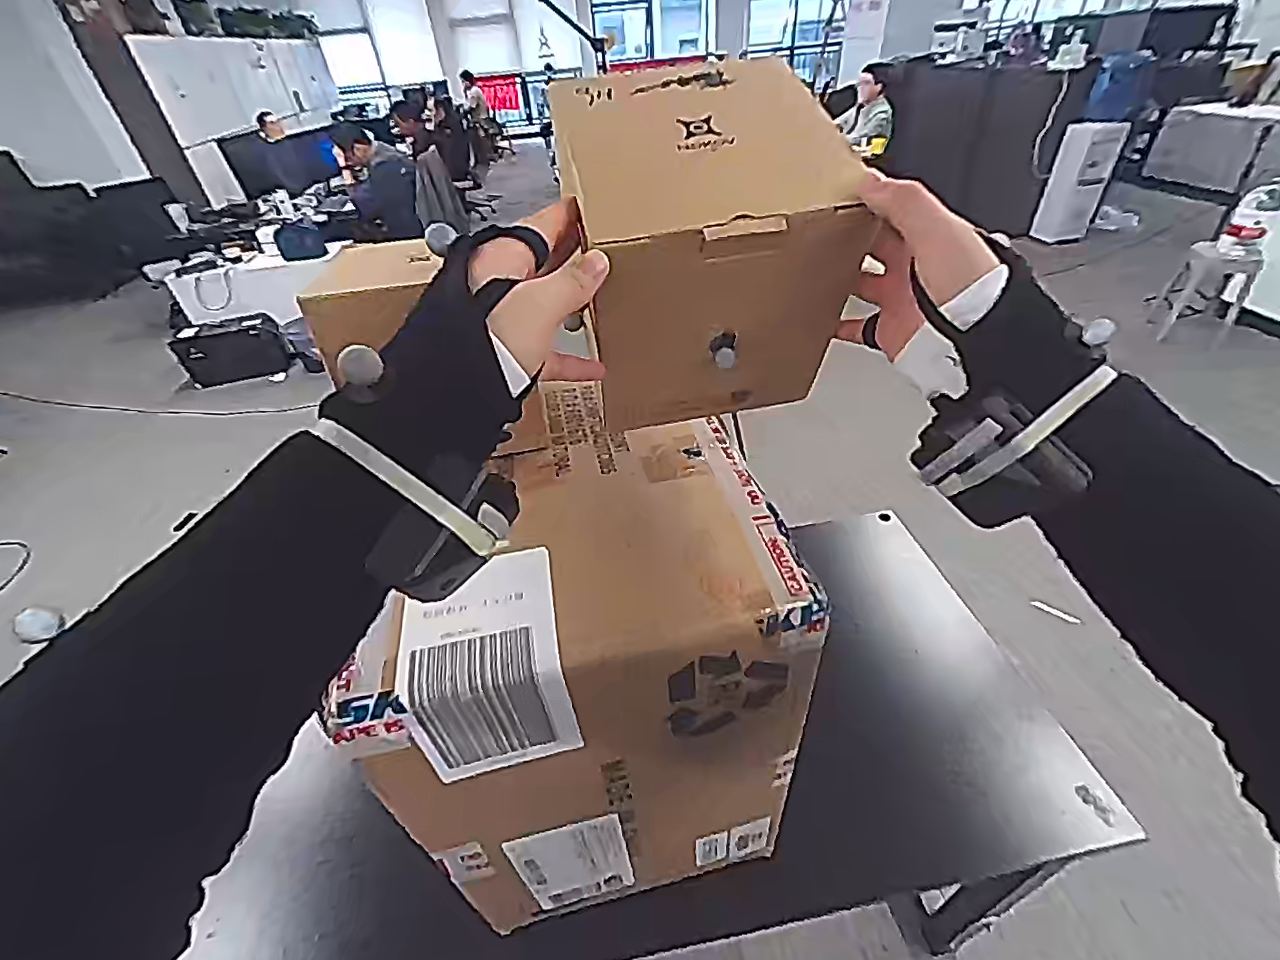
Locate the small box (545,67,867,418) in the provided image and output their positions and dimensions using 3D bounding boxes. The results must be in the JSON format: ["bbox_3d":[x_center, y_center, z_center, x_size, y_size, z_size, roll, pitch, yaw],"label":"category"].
[{"bbox_3d":[0.033,-0.162,0.401,0.168,0.176,0.179,-11,60,-6],"label":"small box"}]

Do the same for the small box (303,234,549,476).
[{"bbox_3d":[-0.190,-0.128,0.530,0.168,0.176,0.179,-12,37,-9],"label":"small box"}]
